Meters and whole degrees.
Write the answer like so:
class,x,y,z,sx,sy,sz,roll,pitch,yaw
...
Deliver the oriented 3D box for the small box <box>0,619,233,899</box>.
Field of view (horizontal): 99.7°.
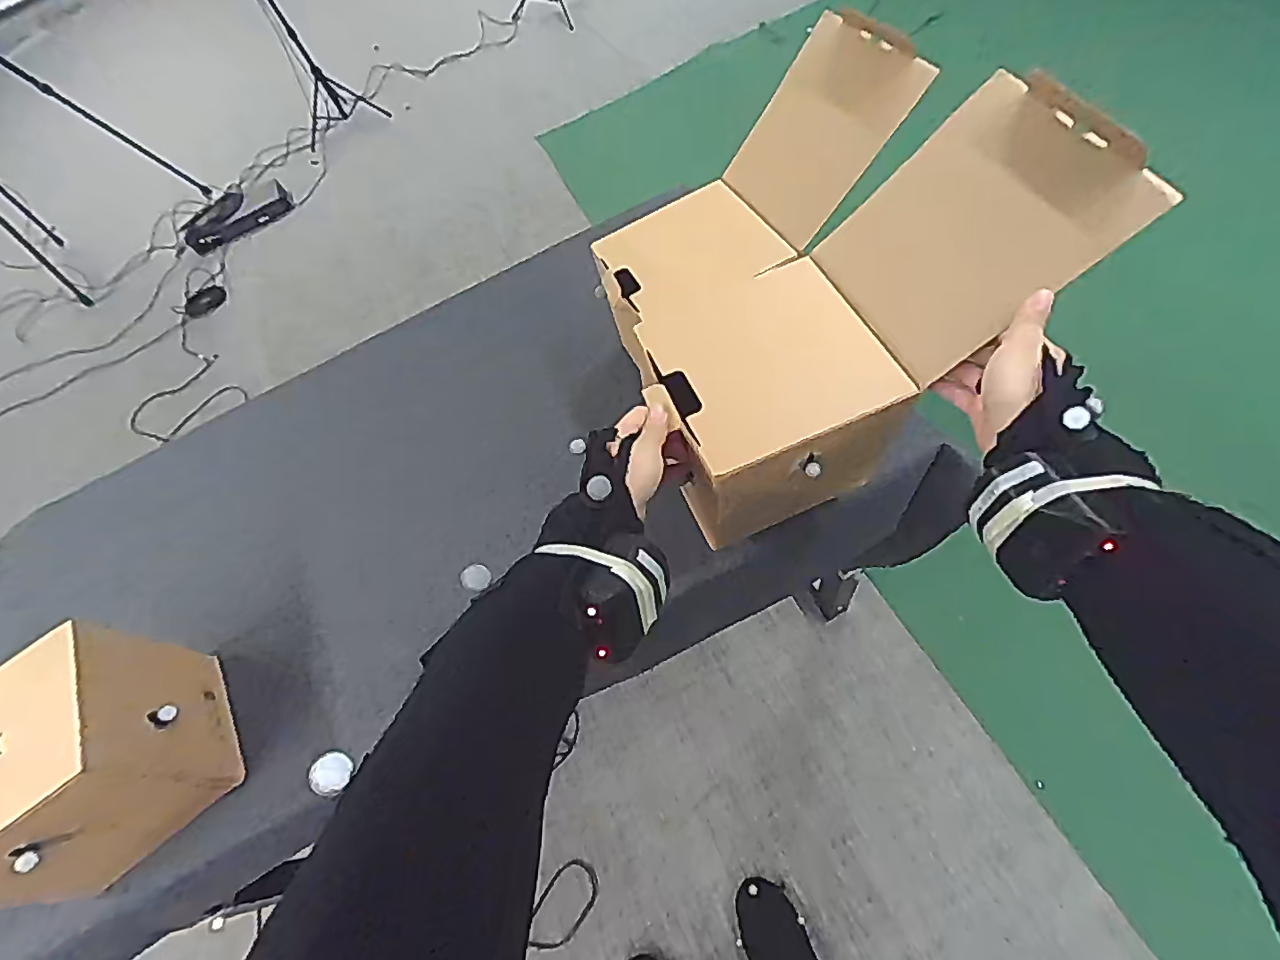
class,x,y,z,sx,sy,sz,roll,pitch,yaw
small box,-0.547,0.273,0.535,0.179,0.176,0.168,-38,59,-8
